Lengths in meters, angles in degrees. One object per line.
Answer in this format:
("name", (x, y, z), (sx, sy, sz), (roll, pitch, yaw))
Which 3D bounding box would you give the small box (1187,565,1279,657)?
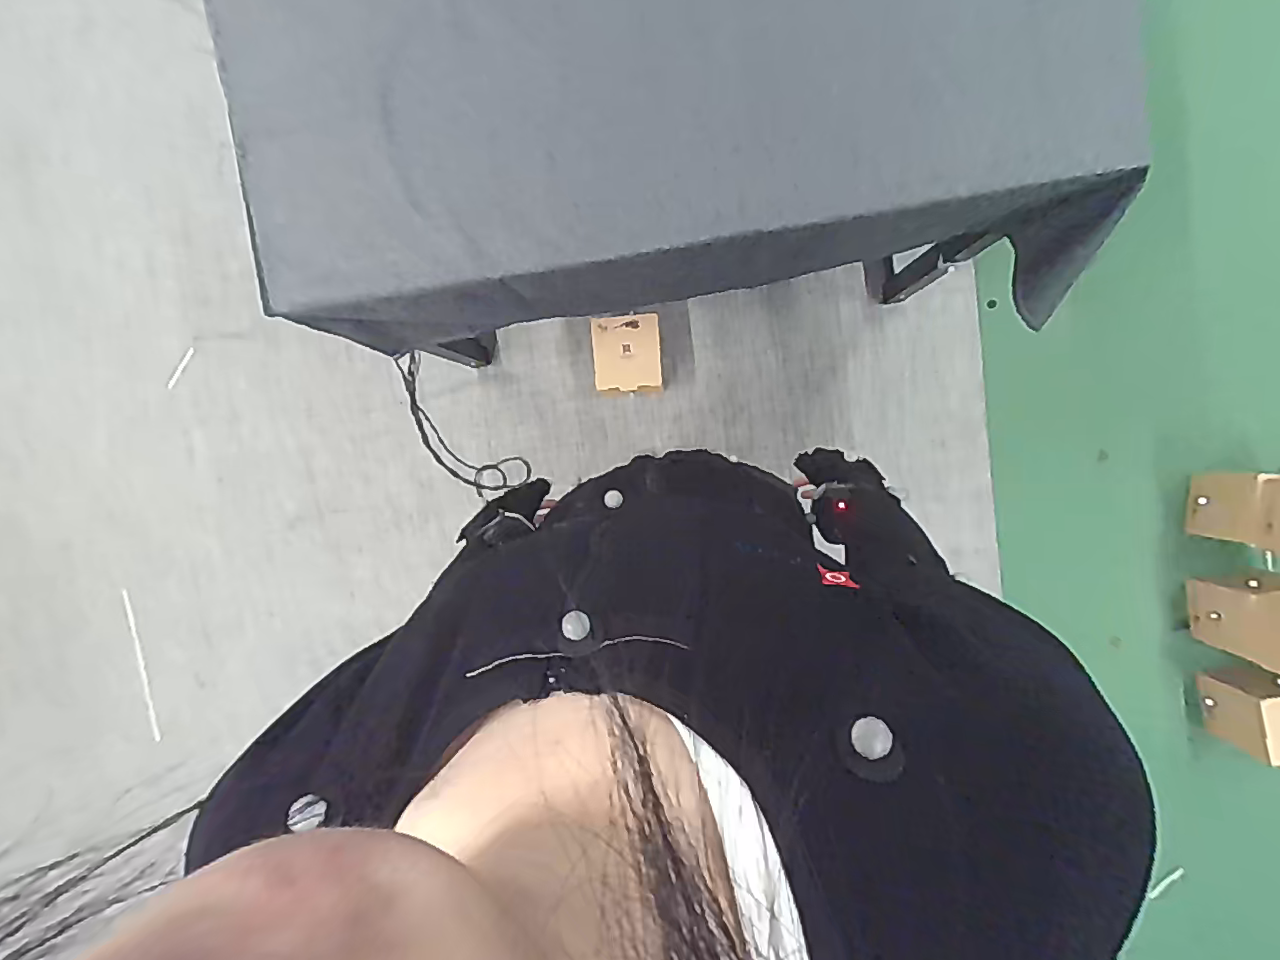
("small box", (1.499, 0.315, 1.323), (0.179, 0.176, 0.168), (-10, 94, 4))

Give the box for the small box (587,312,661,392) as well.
("small box", (-0.035, -0.317, 1.375), (0.168, 0.176, 0.179), (-4, 94, 5))

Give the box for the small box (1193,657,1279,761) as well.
("small box", (1.546, 0.557, 1.339), (0.179, 0.176, 0.168), (-13, 93, 5))

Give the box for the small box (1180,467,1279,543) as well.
("small box", (1.481, 0.057, 1.305), (0.179, 0.176, 0.168), (3, 94, 5))

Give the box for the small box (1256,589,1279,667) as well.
("small box", (1.494, 0.334, 1.161), (0.168, 0.176, 0.179), (-7, 94, 4))
